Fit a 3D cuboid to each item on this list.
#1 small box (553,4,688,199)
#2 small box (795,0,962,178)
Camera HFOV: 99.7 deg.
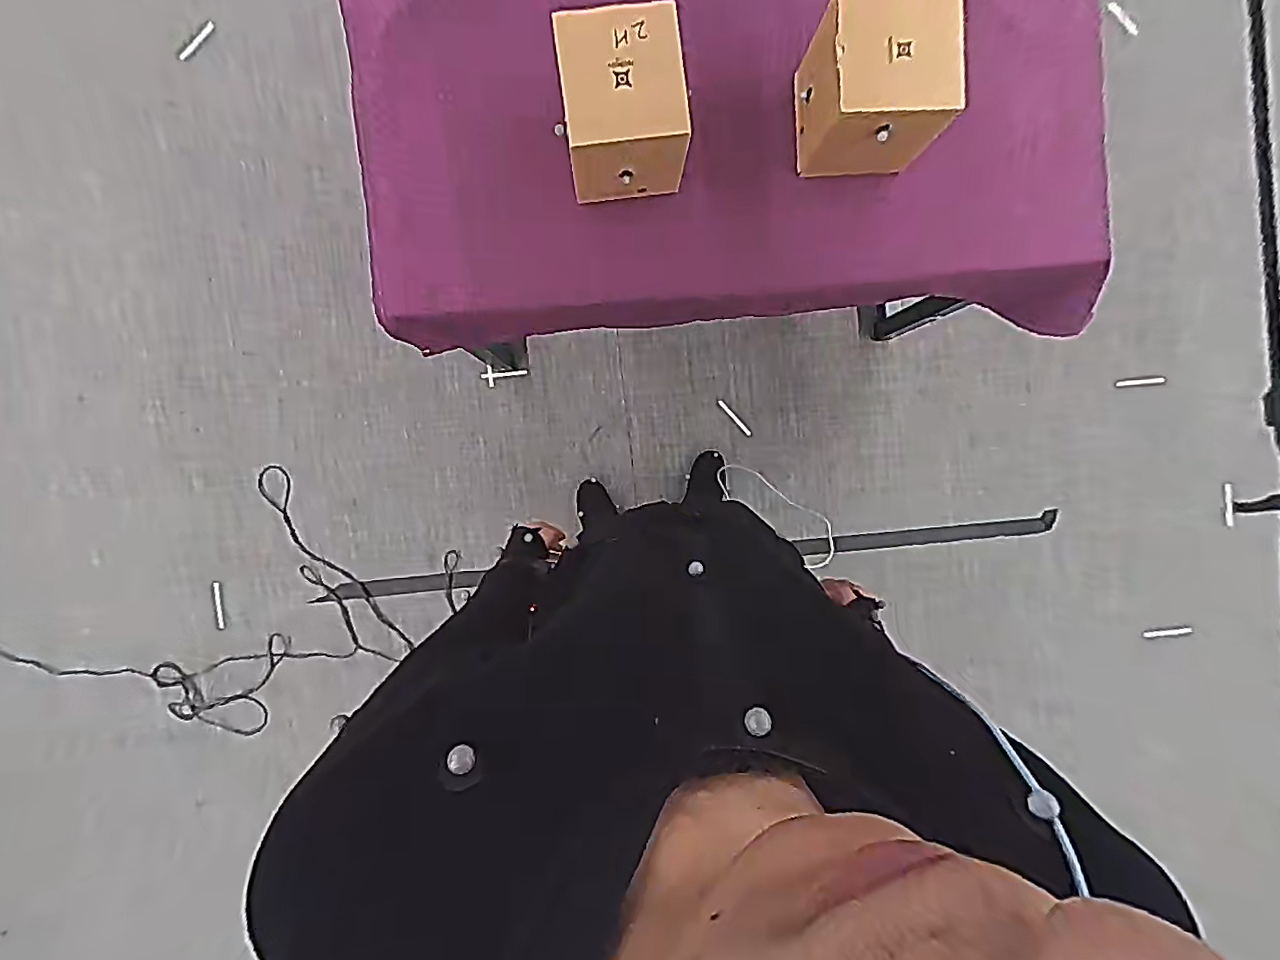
[{"bbox_3d":[-0.027,-0.533,0.790,0.168,0.176,0.179,-7,93,-2],"label":"small box"},{"bbox_3d":[0.345,-0.575,0.806,0.179,0.176,0.168,-3,93,-2],"label":"small box"}]
